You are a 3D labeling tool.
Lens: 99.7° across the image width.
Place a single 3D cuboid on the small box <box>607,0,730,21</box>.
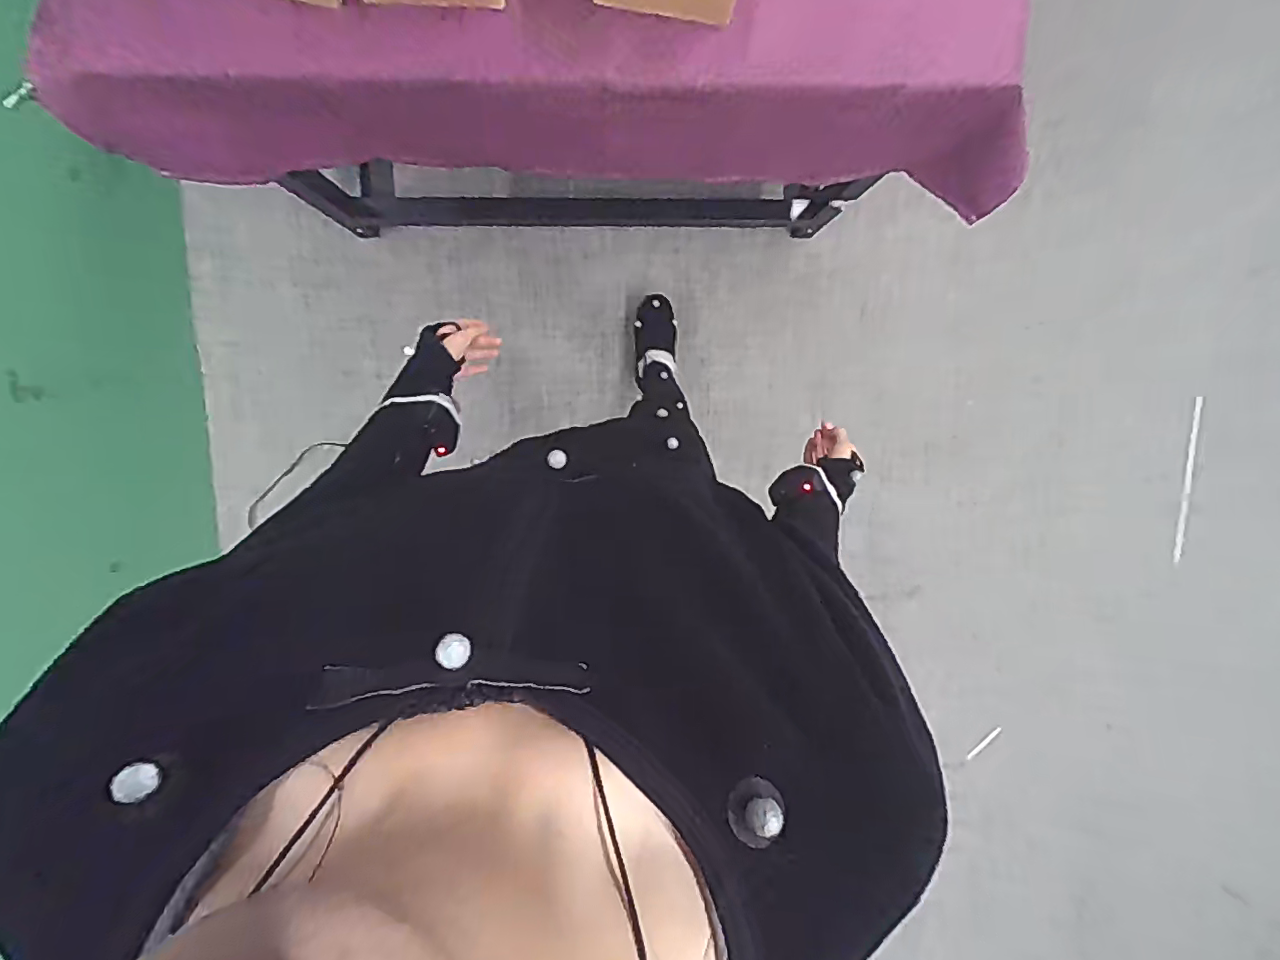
[{"bbox_3d":[0.038,-0.655,0.591,0.179,0.176,0.168,7,98,-4],"label":"small box"}]
